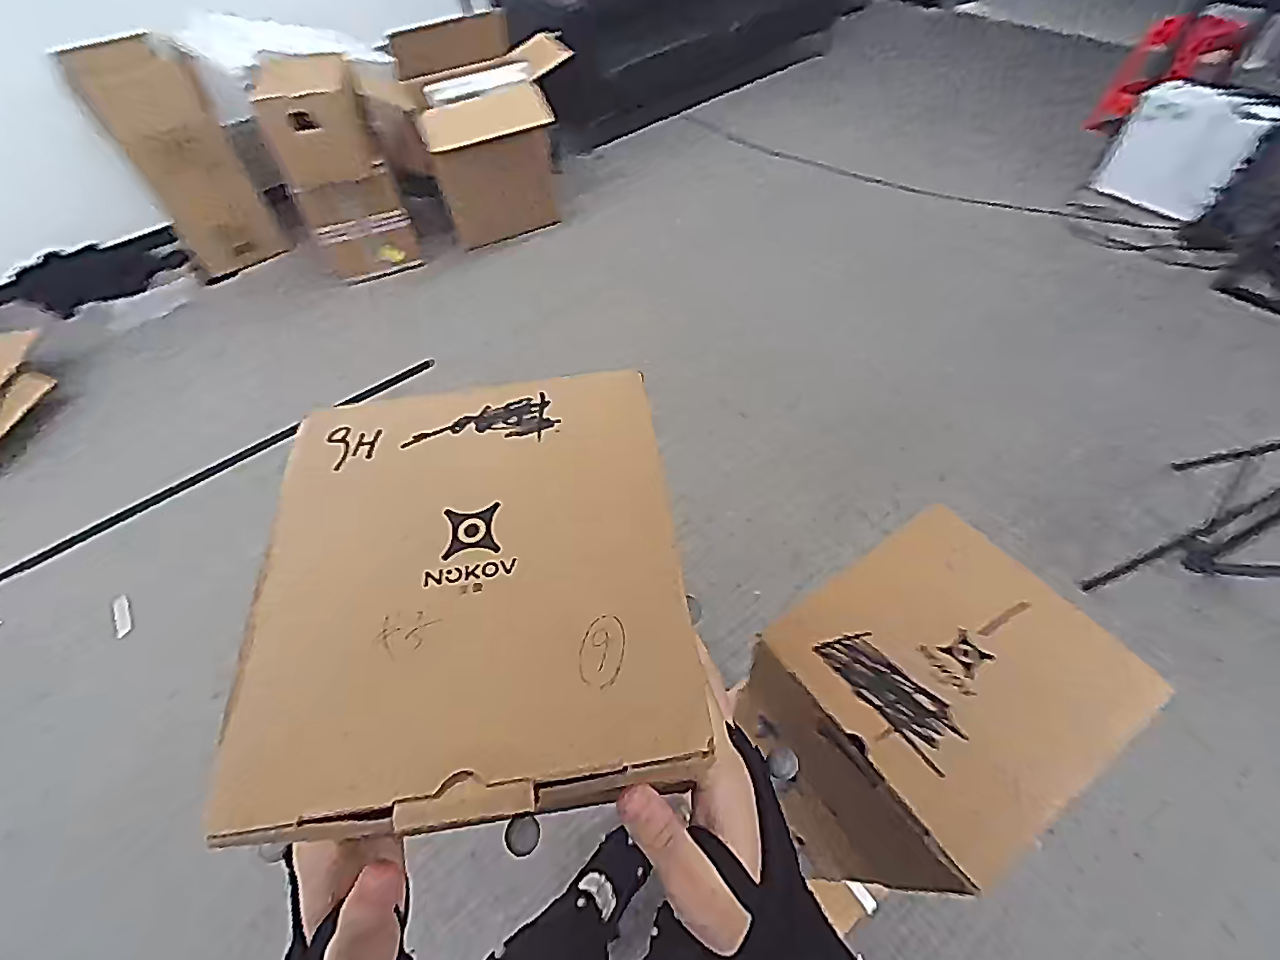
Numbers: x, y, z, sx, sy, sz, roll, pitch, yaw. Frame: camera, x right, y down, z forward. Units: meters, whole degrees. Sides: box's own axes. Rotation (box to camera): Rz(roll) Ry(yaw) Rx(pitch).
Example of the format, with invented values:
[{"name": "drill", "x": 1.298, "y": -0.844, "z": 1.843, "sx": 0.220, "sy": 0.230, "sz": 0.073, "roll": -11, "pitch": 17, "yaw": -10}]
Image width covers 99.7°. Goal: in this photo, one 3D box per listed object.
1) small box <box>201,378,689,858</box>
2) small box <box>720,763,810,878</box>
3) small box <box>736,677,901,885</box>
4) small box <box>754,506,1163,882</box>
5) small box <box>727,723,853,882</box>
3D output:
[{"name": "small box", "x": -0.071, "y": 0.075, "z": 0.287, "sx": 0.168, "sy": 0.176, "sz": 0.179, "roll": -9, "pitch": 59, "yaw": -3}, {"name": "small box", "x": 0.251, "y": 0.543, "z": 0.928, "sx": 0.168, "sy": 0.176, "sz": 0.179, "roll": -34, "pitch": 59, "yaw": -17}, {"name": "small box", "x": 0.212, "y": 0.253, "z": 0.534, "sx": 0.168, "sy": 0.176, "sz": 0.179, "roll": -31, "pitch": 57, "yaw": -15}, {"name": "small box", "x": 0.200, "y": 0.159, "z": 0.400, "sx": 0.179, "sy": 0.176, "sz": 0.168, "roll": -30, "pitch": 57, "yaw": -16}, {"name": "small box", "x": 0.225, "y": 0.348, "z": 0.665, "sx": 0.168, "sy": 0.176, "sz": 0.179, "roll": -31, "pitch": 57, "yaw": -16}]
